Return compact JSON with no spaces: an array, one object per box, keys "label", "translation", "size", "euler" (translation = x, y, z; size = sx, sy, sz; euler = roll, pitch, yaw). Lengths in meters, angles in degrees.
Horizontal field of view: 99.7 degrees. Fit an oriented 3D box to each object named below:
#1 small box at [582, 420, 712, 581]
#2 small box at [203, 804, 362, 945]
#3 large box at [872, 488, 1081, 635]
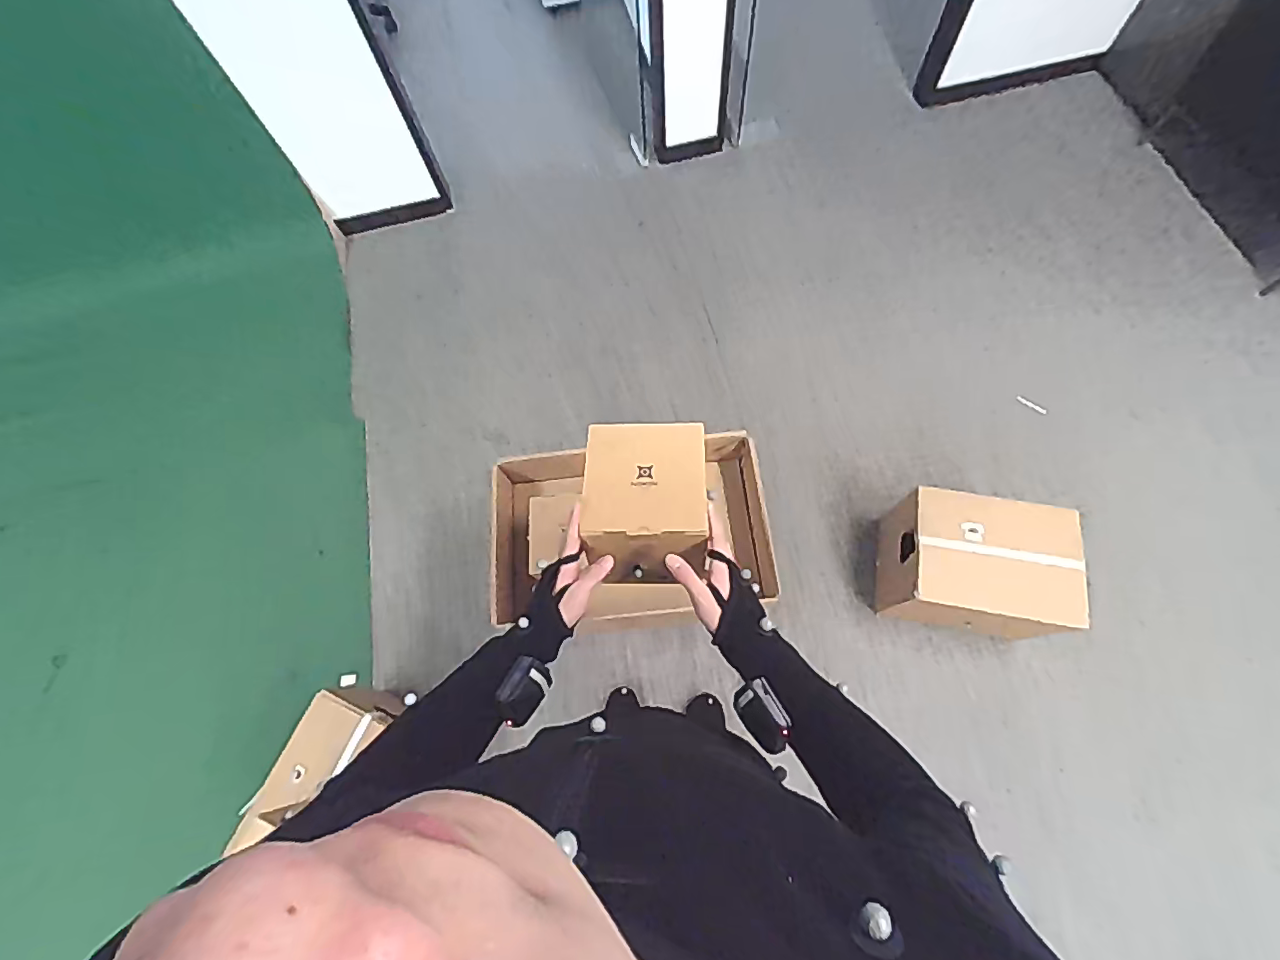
[{"label":"small box","translation":[0.013,0.032,0.783],"size":[0.168,0.176,0.179],"euler":[-1,57,3]},{"label":"small box","translation":[-0.728,0.800,1.122],"size":[0.179,0.176,0.168],"euler":[20,71,9]},{"label":"large box","translation":[0.912,0.239,1.519],"size":[0.408,0.320,0.320],"euler":[9,69,7]}]
